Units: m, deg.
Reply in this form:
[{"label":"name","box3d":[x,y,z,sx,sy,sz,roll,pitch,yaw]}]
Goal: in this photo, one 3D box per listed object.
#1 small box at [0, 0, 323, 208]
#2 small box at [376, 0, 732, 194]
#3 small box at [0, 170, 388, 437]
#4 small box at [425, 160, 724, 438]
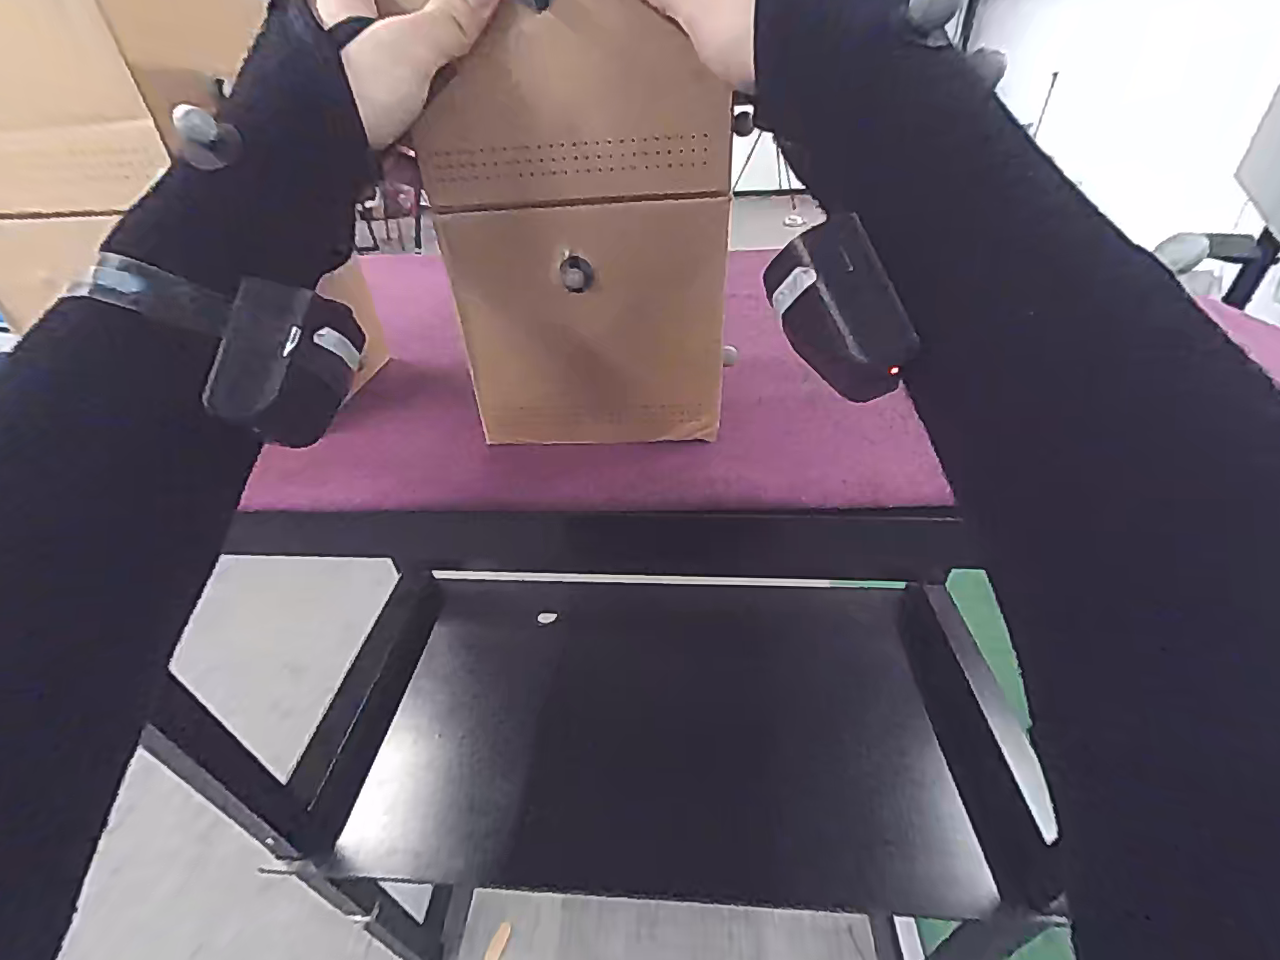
[{"label":"small box","box3d":[-0.353,-0.278,0.349,0.179,0.176,0.168,0,36,2]},{"label":"small box","box3d":[-0.037,-0.274,0.319,0.179,0.176,0.168,-2,36,5]},{"label":"small box","box3d":[-0.344,-0.144,0.442,0.179,0.176,0.168,-1,36,4]},{"label":"small box","box3d":[-0.029,-0.142,0.414,0.179,0.176,0.168,0,37,4]}]
